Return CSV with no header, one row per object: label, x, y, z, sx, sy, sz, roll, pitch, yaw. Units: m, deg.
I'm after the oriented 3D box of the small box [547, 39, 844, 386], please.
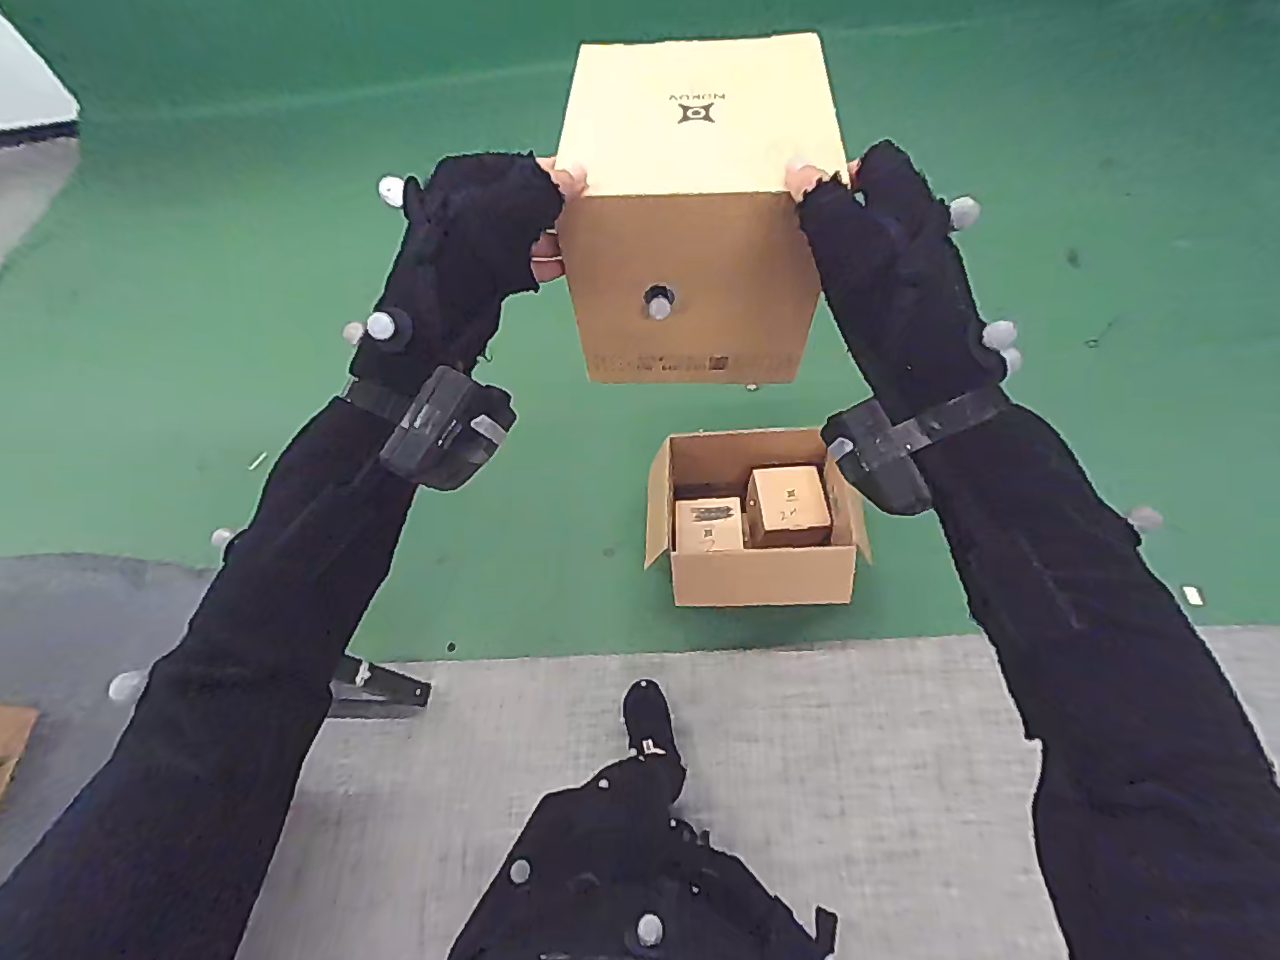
small box,0.039,-0.185,0.403,0.168,0.176,0.179,1,60,5
